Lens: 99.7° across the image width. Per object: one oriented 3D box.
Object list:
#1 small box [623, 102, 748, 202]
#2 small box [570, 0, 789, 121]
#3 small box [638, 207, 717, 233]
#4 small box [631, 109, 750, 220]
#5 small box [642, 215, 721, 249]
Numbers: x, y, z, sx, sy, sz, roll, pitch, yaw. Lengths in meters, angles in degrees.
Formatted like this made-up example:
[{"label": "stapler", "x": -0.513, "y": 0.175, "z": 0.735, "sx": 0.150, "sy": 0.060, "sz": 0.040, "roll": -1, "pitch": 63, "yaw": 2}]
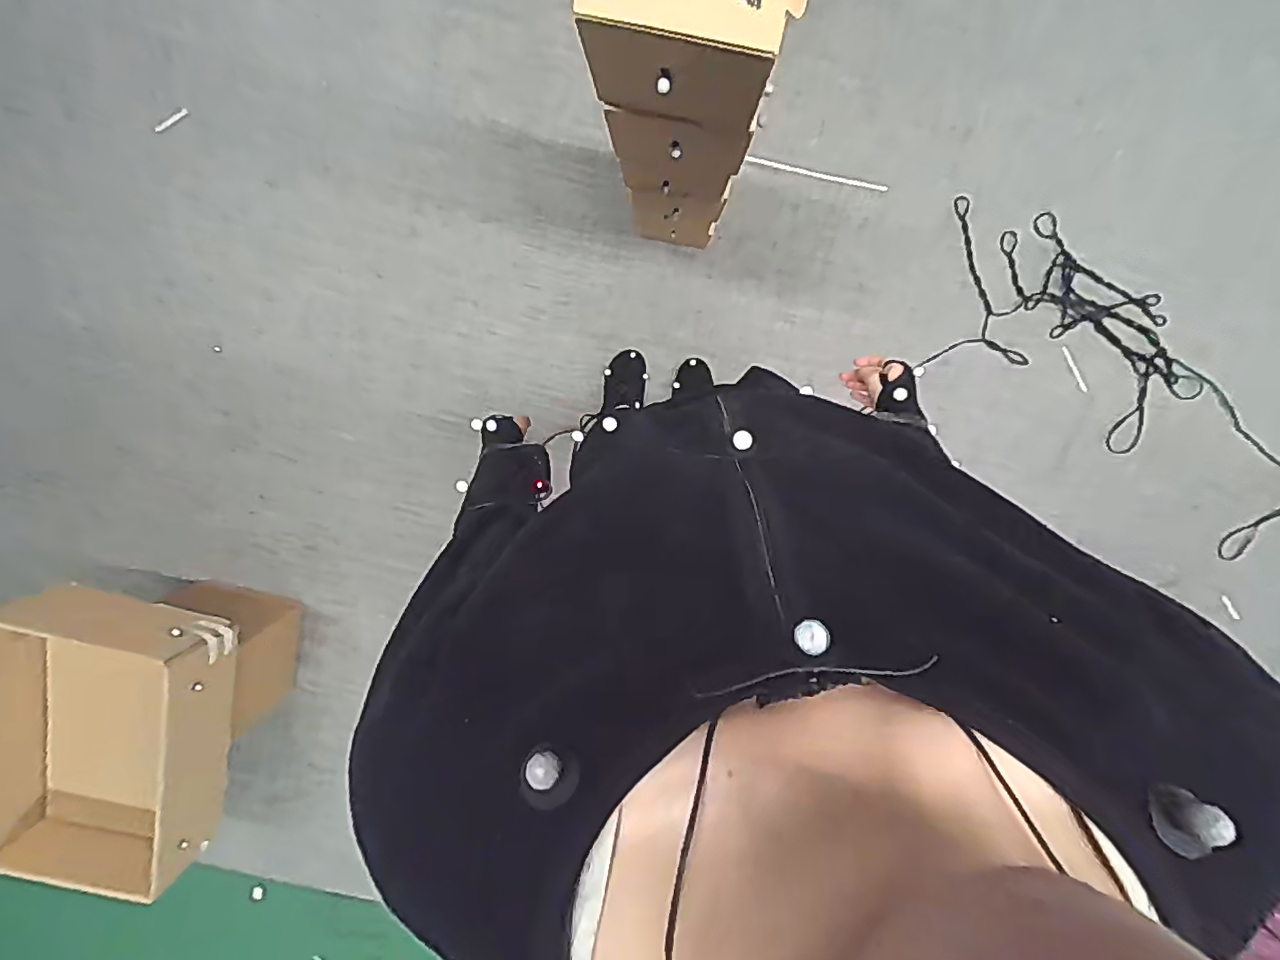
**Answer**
[{"label": "small box", "x": 0.072, "y": -0.547, "z": 0.816, "sx": 0.168, "sy": 0.176, "sz": 0.179, "roll": 10, "pitch": 104, "yaw": 1}, {"label": "small box", "x": 0.049, "y": -0.464, "z": 0.500, "sx": 0.179, "sy": 0.176, "sz": 0.168, "roll": 13, "pitch": 104, "yaw": 2}, {"label": "small box", "x": 0.092, "y": -0.634, "z": 1.130, "sx": 0.179, "sy": 0.176, "sz": 0.168, "roll": 12, "pitch": 103, "yaw": 0}, {"label": "small box", "x": 0.086, "y": -0.584, "z": 0.975, "sx": 0.179, "sy": 0.176, "sz": 0.168, "roll": 10, "pitch": 103, "yaw": 0}, {"label": "small box", "x": 0.109, "y": -0.665, "z": 1.290, "sx": 0.179, "sy": 0.176, "sz": 0.168, "roll": 12, "pitch": 102, "yaw": -1}]
